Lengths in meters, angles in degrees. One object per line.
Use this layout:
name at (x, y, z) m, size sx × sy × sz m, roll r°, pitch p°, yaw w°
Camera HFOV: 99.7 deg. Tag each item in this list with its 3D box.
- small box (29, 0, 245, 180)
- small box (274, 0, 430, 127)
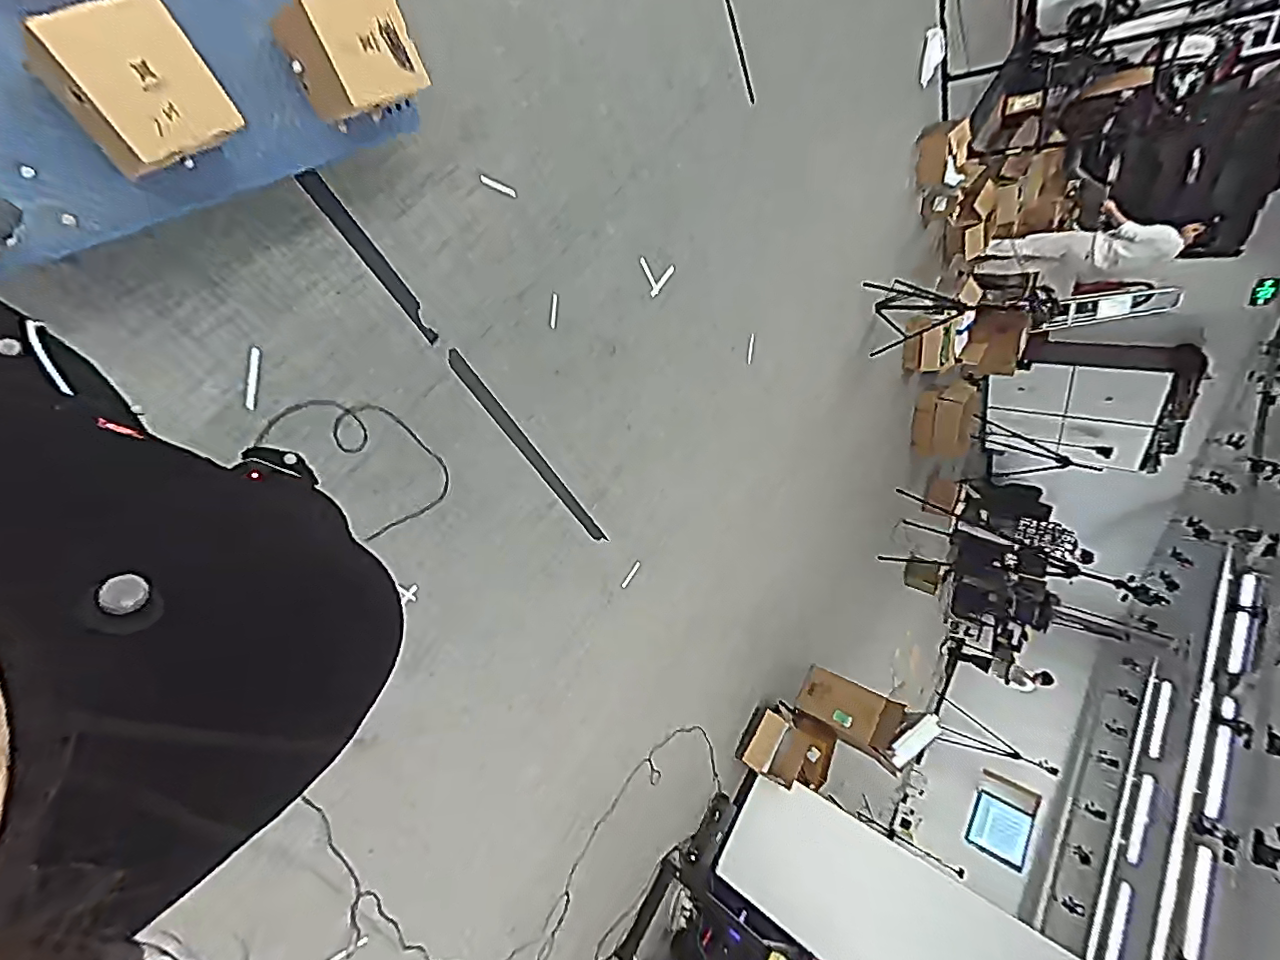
small box at (-0.770, -0.592, 0.832) m, size 0.168 × 0.176 × 0.179 m, roll -48°, pitch 135°, yaw -27°
small box at (-0.545, -0.797, 1.027) m, size 0.179 × 0.176 × 0.168 m, roll -43°, pitch 132°, yaw -30°
